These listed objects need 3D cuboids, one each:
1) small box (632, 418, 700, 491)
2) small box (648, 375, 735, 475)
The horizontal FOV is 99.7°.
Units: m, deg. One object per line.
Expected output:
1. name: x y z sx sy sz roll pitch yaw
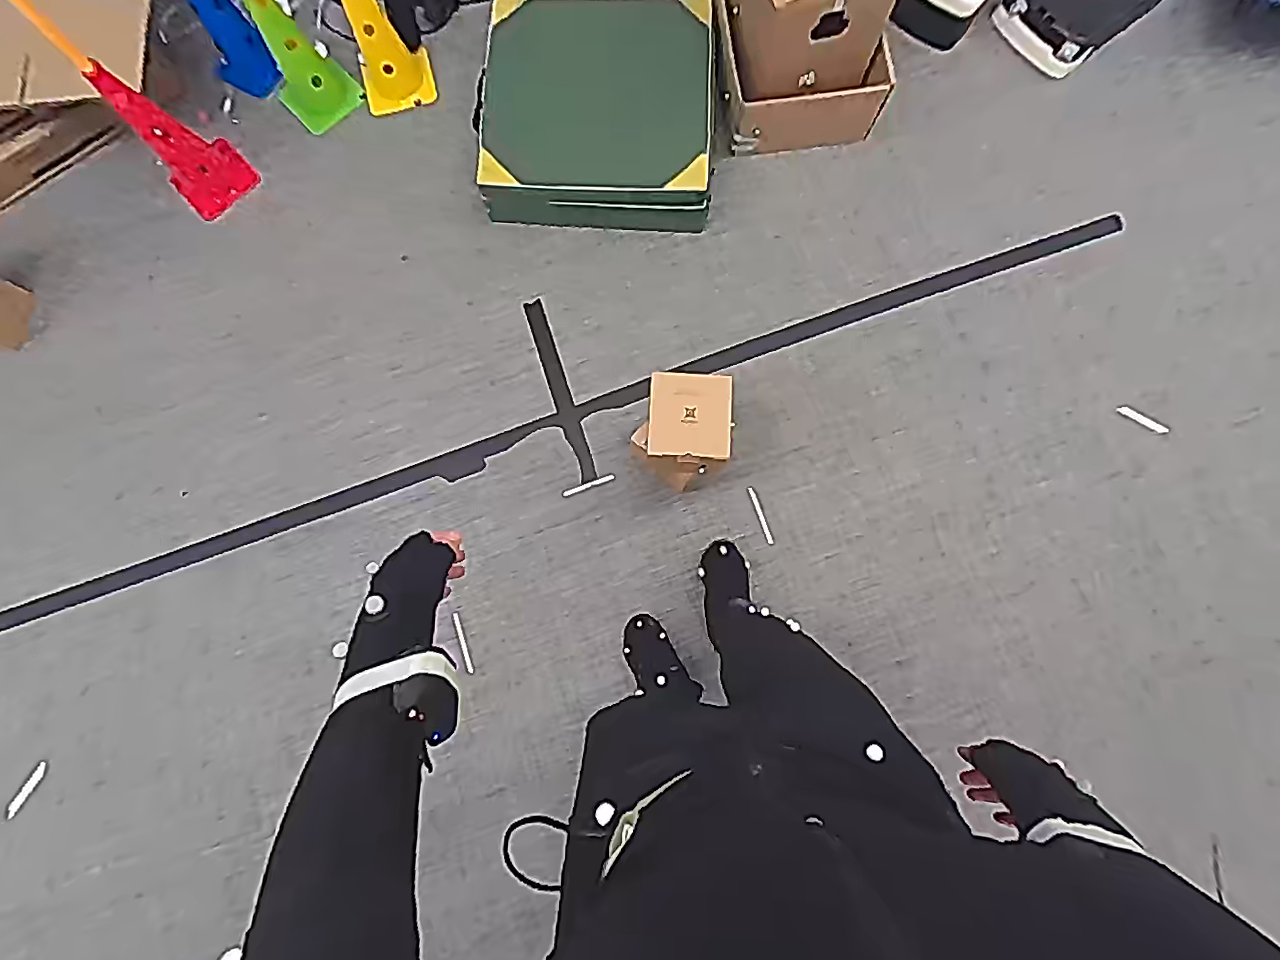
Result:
1. small box: 0.099 -0.092 1.321 0.168 0.176 0.179 37 82 7
2. small box: 0.105 -0.110 1.156 0.168 0.176 0.179 4 80 1
